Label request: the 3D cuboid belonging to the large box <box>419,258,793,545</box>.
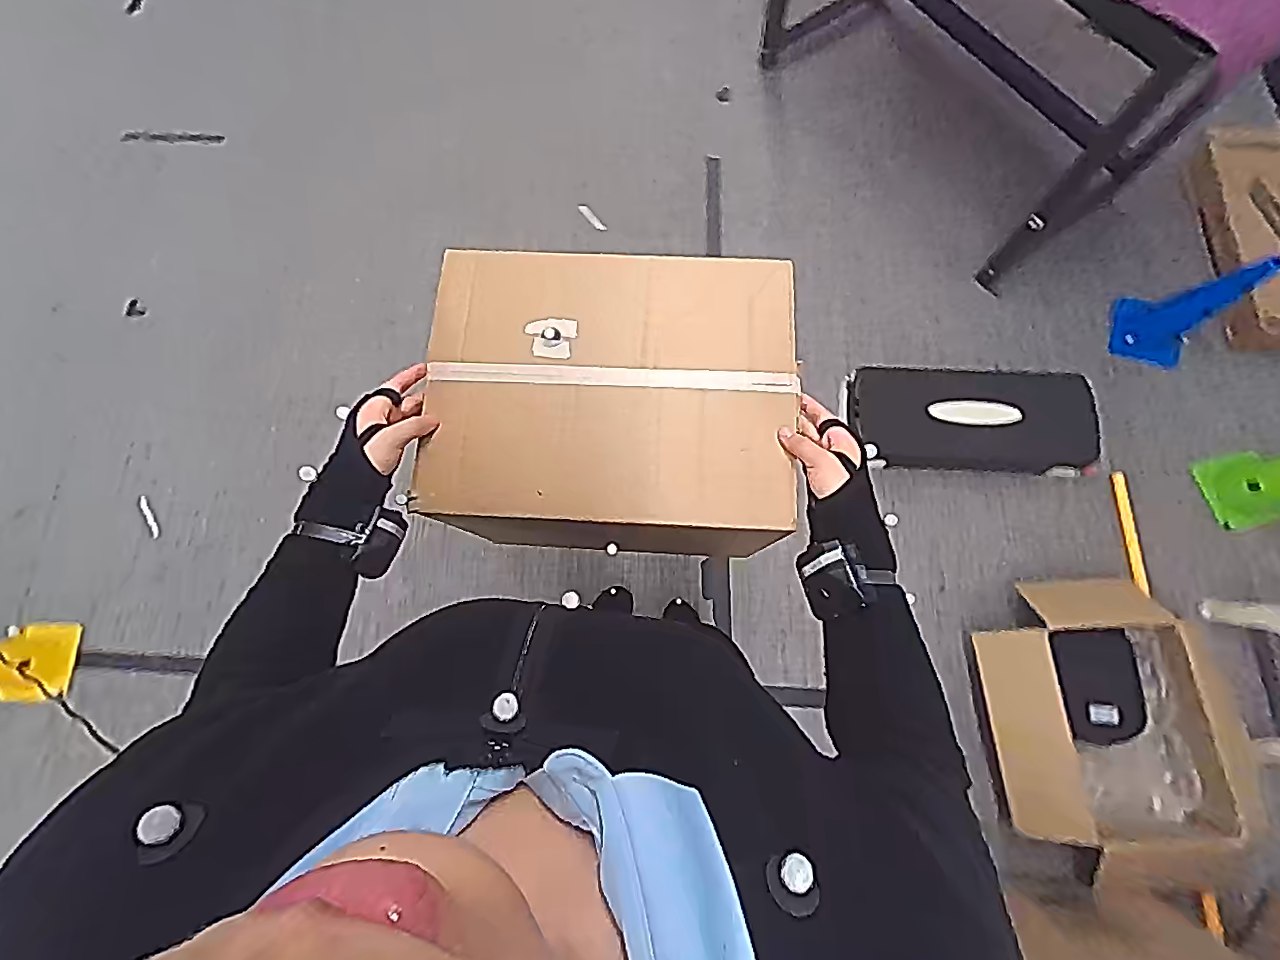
[{"bbox_3d":[-0.030,-0.077,0.747,0.408,0.320,0.320,1,76,2],"label":"large box"}]
